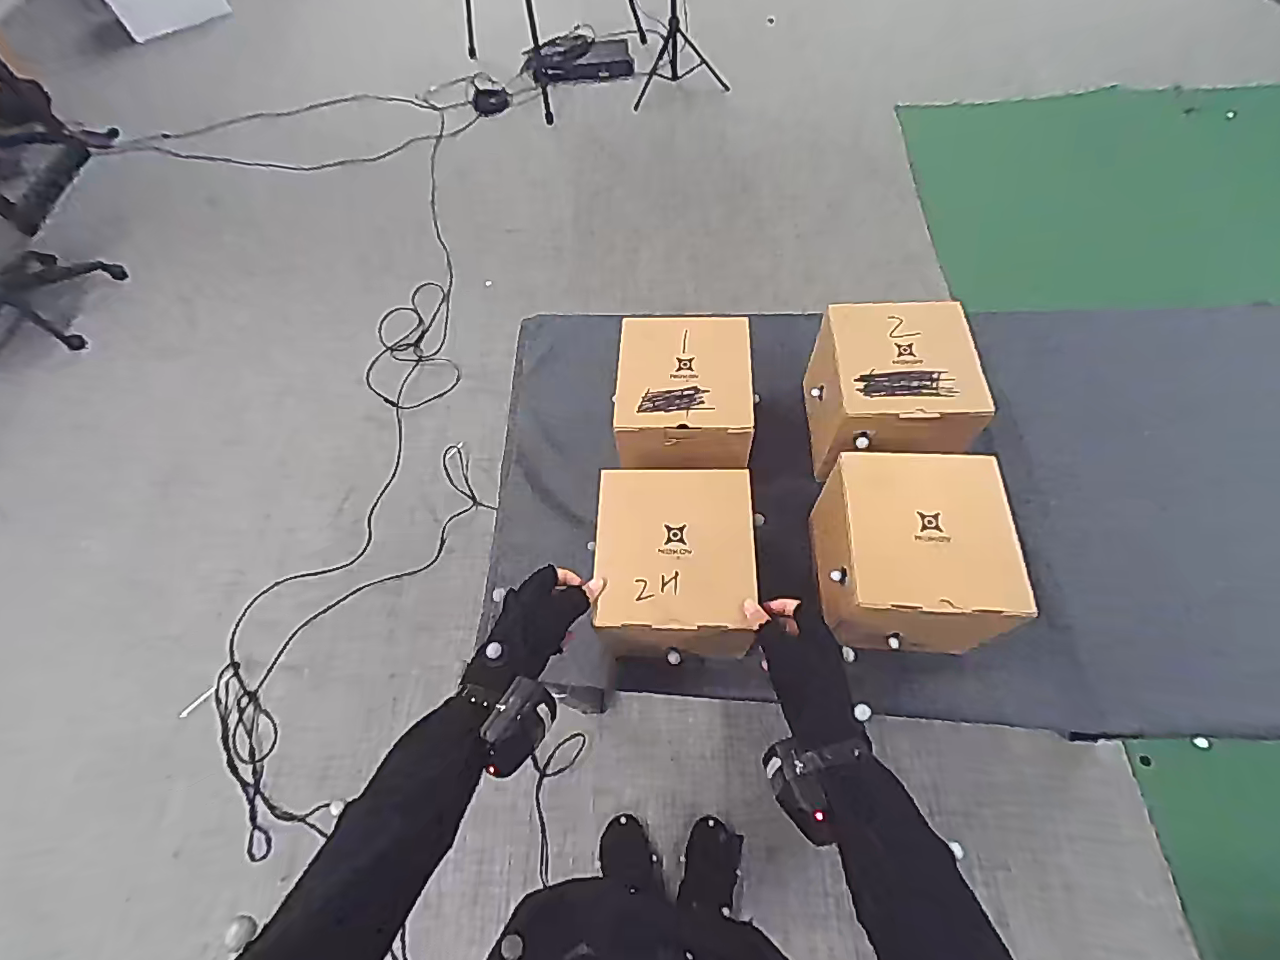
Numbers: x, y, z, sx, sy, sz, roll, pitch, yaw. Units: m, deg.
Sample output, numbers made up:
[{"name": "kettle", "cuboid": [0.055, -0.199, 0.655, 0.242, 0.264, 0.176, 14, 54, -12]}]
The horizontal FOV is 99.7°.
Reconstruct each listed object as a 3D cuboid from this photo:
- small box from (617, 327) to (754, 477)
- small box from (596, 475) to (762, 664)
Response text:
[{"name": "small box", "cuboid": [0.065, -0.086, 0.743, 0.168, 0.176, 0.179, 1, 61, 5]}, {"name": "small box", "cuboid": [0.046, 0.109, 0.636, 0.168, 0.176, 0.179, -1, 62, 5]}]
